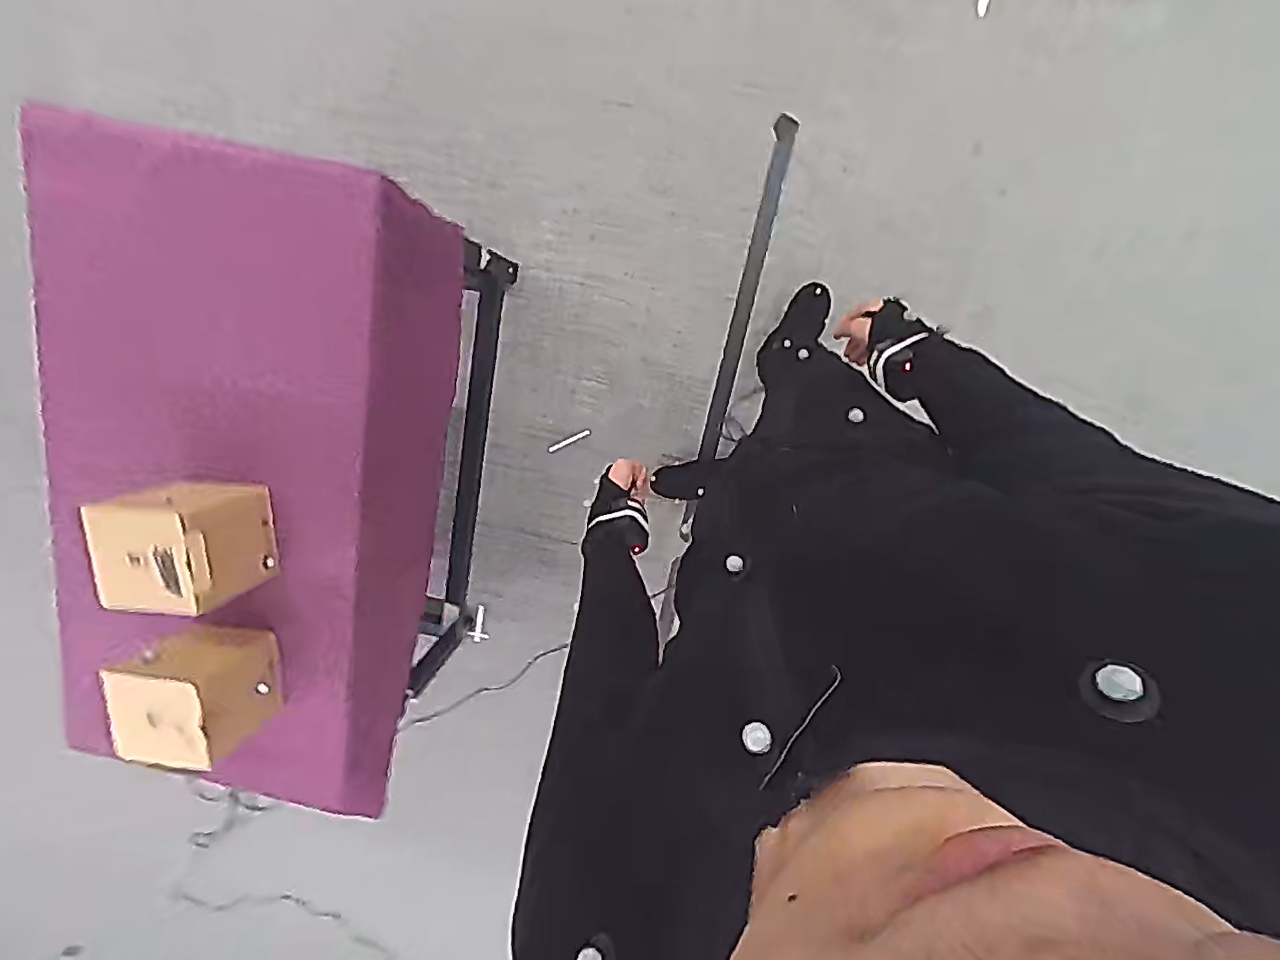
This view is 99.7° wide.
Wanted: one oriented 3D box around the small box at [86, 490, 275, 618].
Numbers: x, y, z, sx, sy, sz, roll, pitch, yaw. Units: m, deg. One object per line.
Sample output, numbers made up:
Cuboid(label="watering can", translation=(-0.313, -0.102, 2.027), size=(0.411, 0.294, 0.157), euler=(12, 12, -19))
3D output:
Cuboid(label="small box", translation=(-0.753, 0.115, 0.911), size=(0.179, 0.176, 0.168), euler=(2, 102, 6))

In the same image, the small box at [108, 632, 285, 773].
Cuboid(label="small box", translation=(-0.785, 0.389, 0.973), size=(0.179, 0.176, 0.168), euler=(4, 103, 5))
